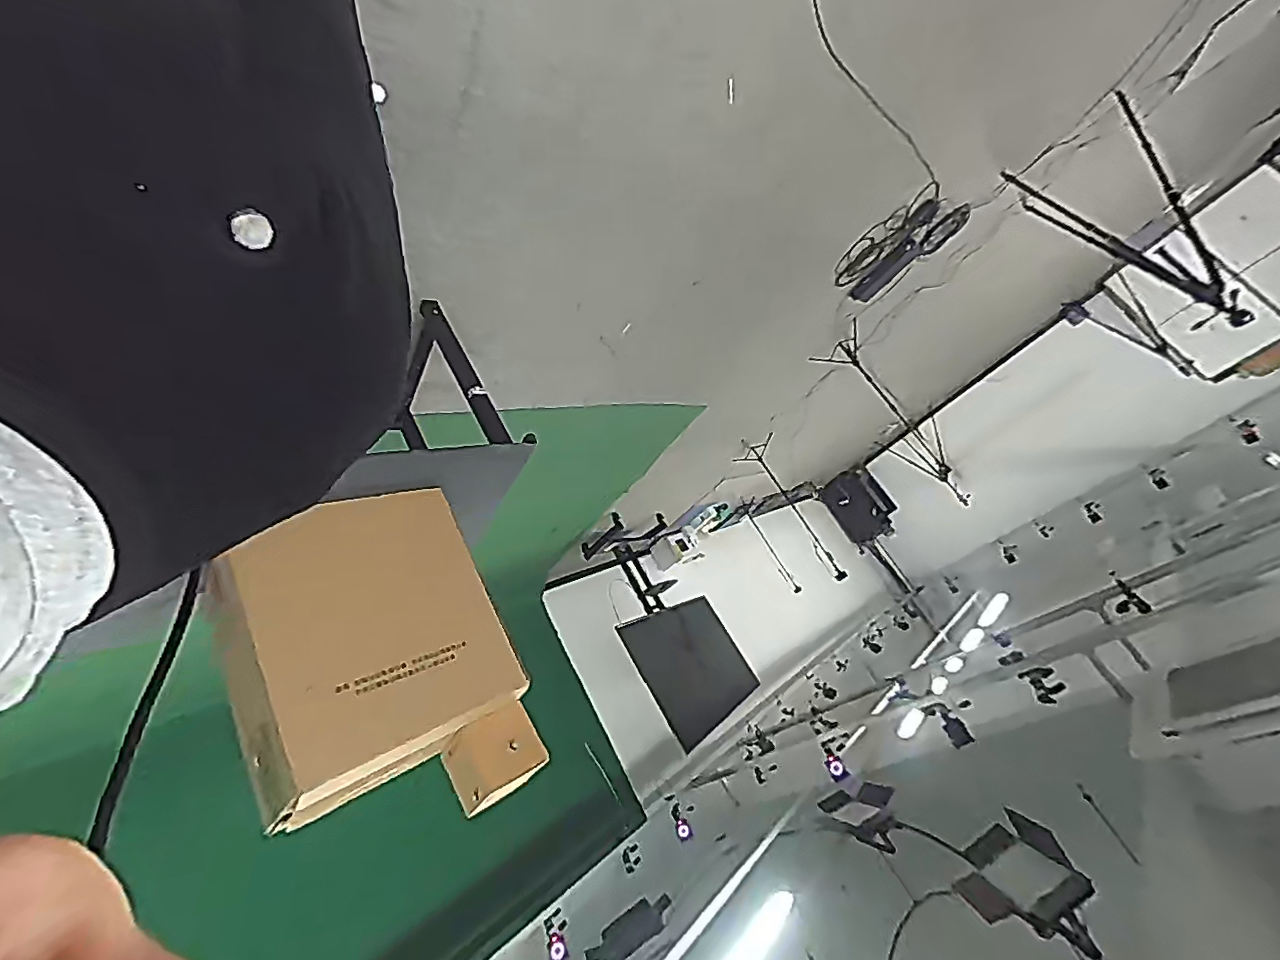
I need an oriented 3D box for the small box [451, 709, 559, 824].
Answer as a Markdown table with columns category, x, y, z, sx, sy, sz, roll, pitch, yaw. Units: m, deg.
| category | x | y | z | sx | sy | sz | roll | pitch | yaw |
| --- | --- | --- | --- | --- | --- | --- | --- | --- | --- |
| small box | -0.344 | 0.715 | 1.368 | 0.179 | 0.176 | 0.168 | -11 | 143 | -47 |
